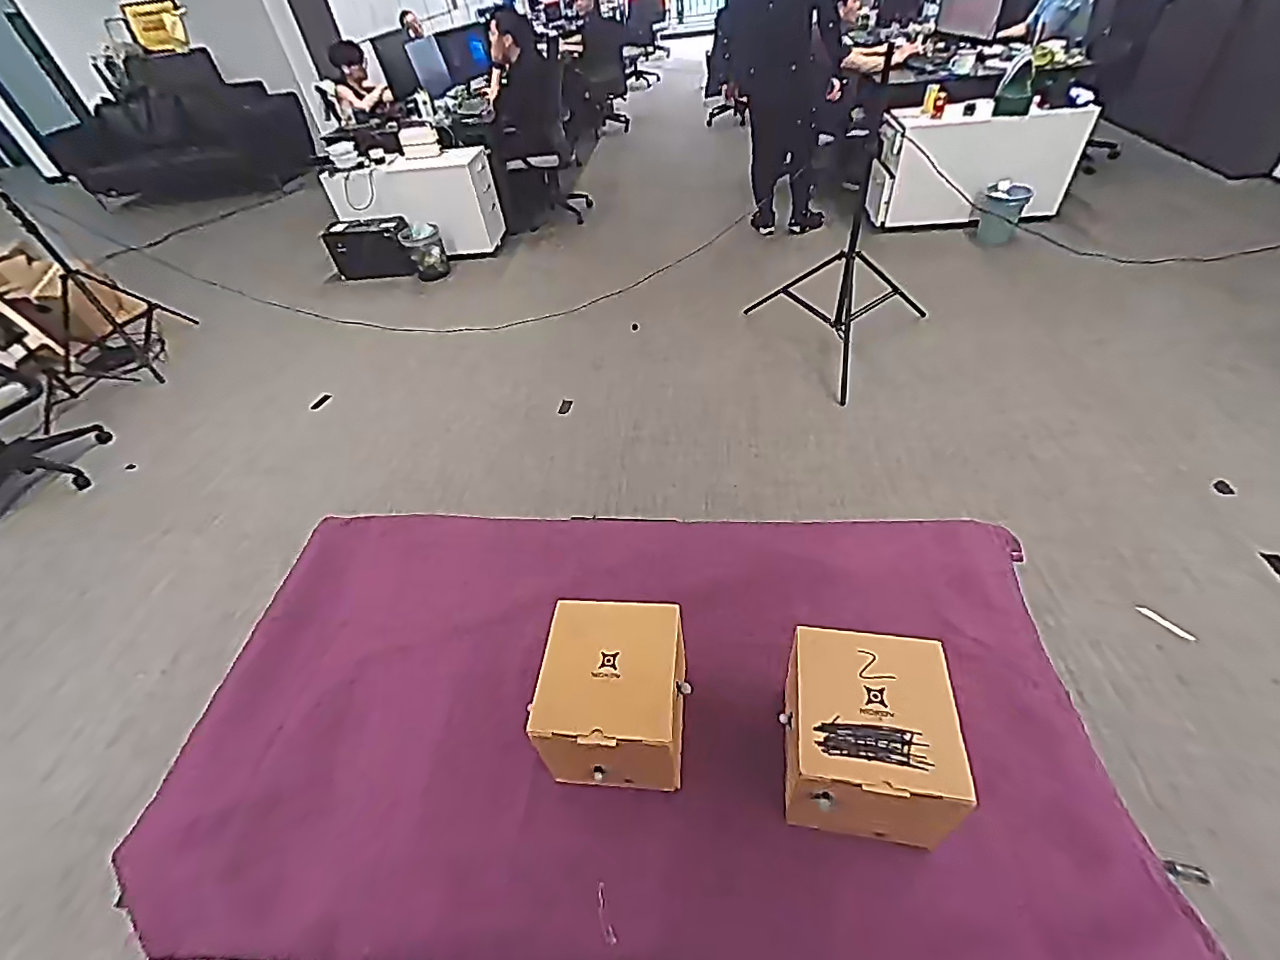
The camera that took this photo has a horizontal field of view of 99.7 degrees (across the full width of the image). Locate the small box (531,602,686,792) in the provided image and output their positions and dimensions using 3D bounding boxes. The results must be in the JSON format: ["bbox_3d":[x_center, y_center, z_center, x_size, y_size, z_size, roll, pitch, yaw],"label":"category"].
[{"bbox_3d":[-0.027,0.282,0.709,0.168,0.176,0.179,0,45,8],"label":"small box"}]
